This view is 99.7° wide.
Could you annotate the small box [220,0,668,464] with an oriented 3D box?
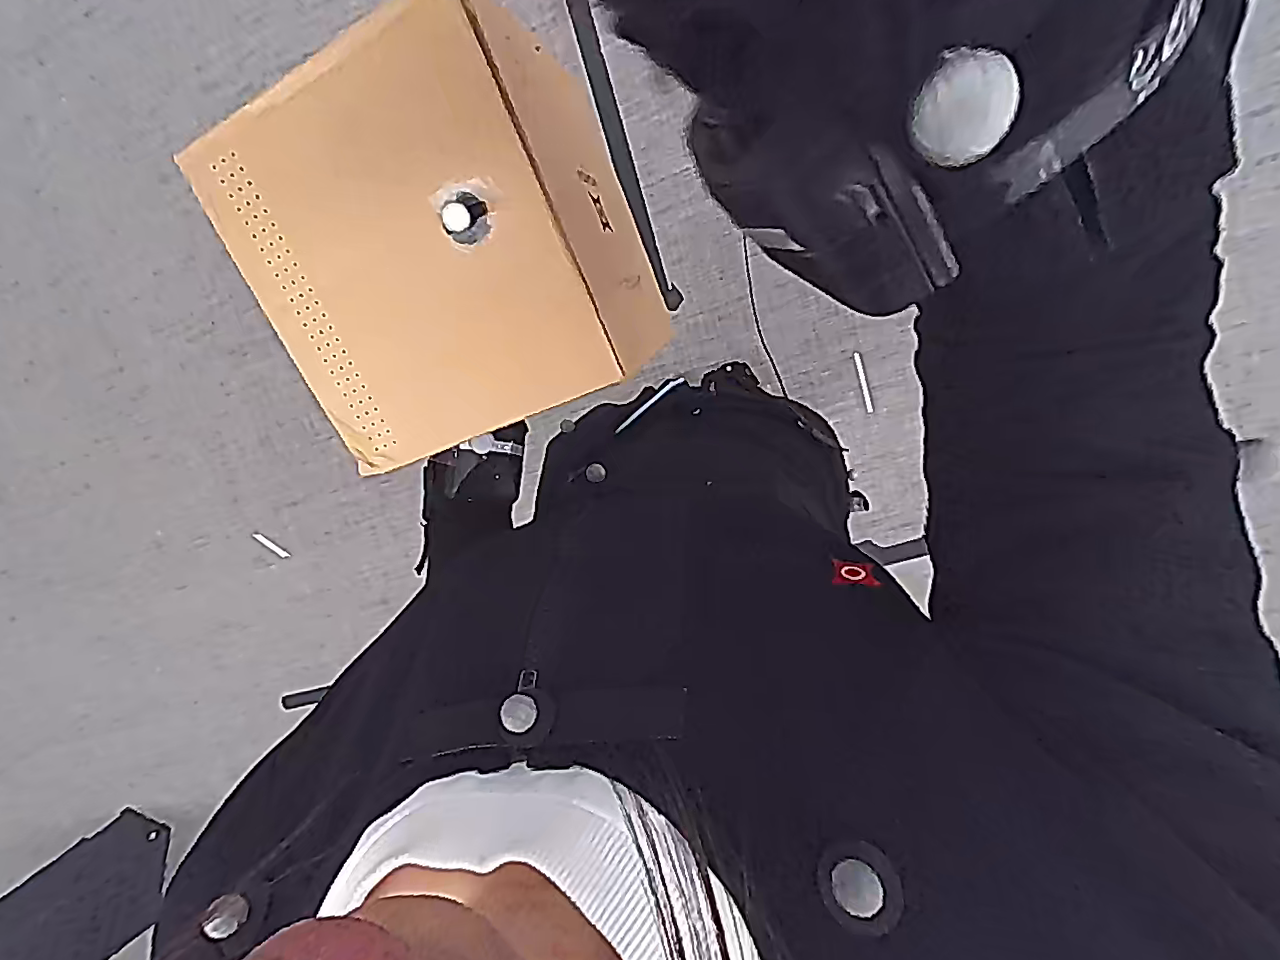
[{"bbox_3d":[-0.100,-0.133,0.340,0.176,0.168,0.179,-18,107,19],"label":"small box"}]
